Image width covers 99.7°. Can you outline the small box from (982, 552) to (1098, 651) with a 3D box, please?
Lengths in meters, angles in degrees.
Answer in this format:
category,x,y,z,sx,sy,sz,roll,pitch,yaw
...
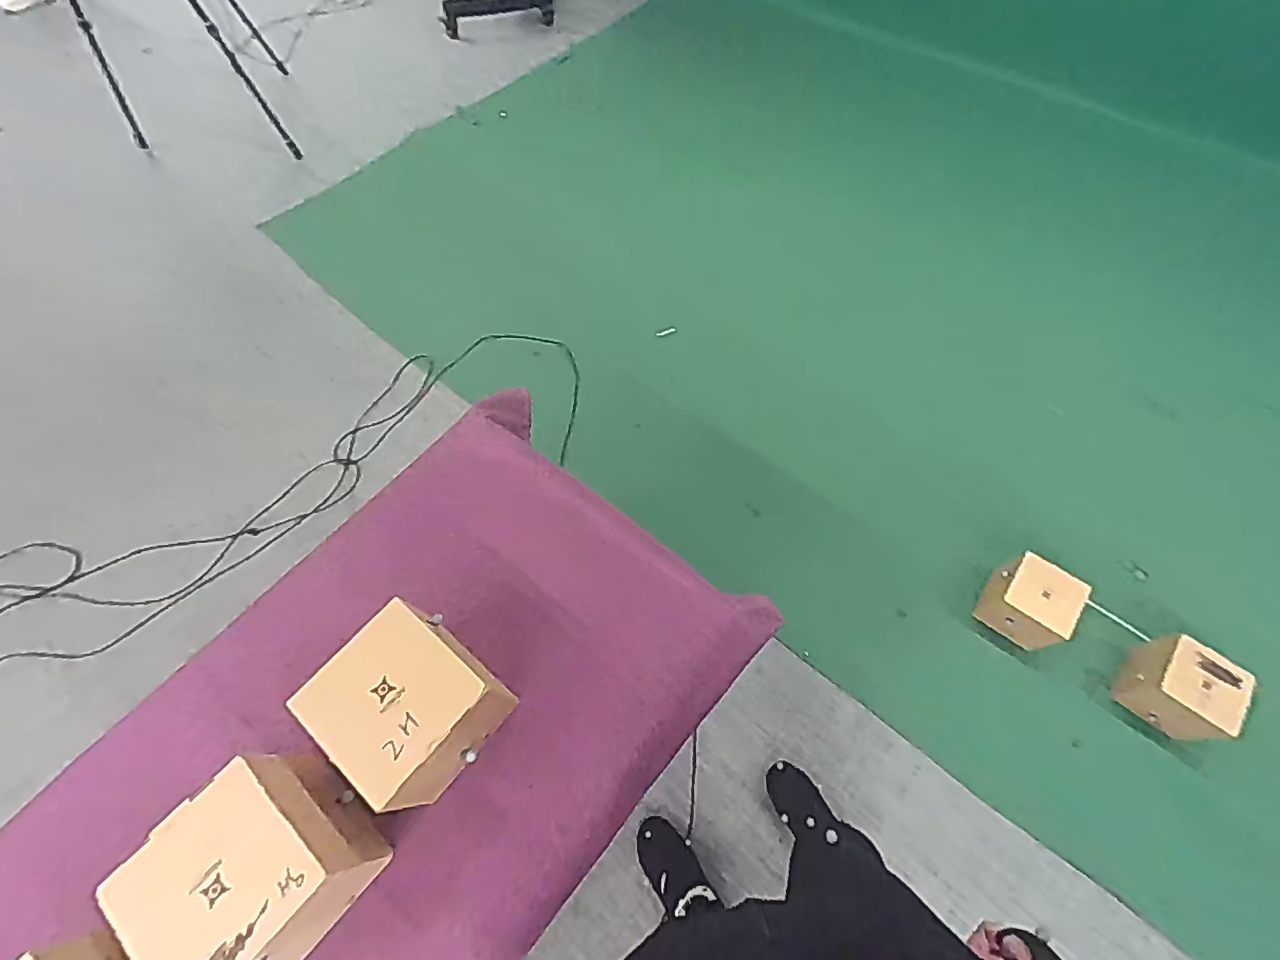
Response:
category,x,y,z,sx,sy,sz,roll,pitch,yaw
small box,1.058,0.330,1.446,0.168,0.176,0.179,35,68,19

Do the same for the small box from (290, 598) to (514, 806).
category,x,y,z,sx,sy,sz,roll,pitch,yaw
small box,-0.294,0.288,0.705,0.179,0.176,0.168,36,70,18
